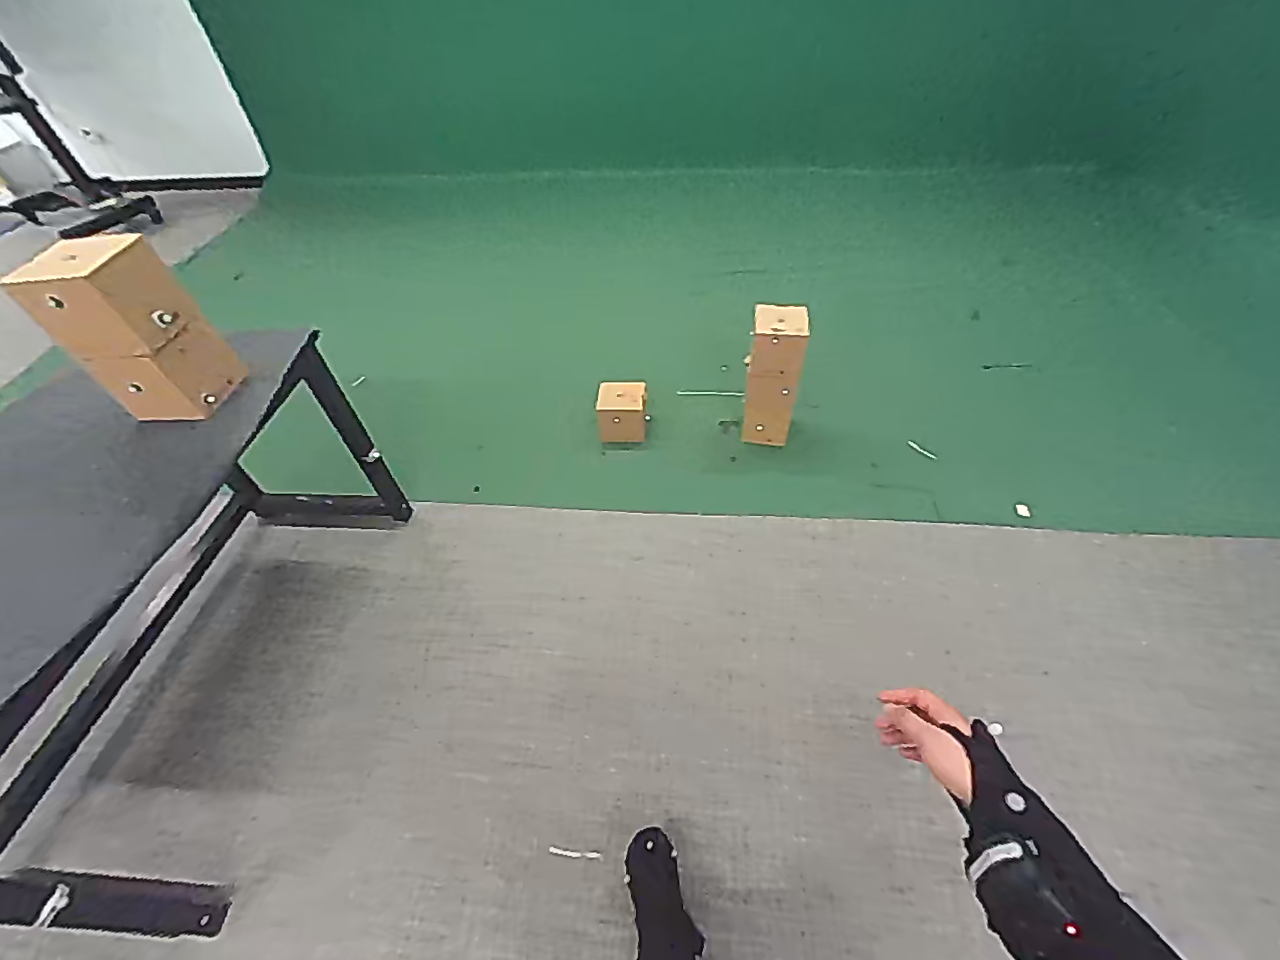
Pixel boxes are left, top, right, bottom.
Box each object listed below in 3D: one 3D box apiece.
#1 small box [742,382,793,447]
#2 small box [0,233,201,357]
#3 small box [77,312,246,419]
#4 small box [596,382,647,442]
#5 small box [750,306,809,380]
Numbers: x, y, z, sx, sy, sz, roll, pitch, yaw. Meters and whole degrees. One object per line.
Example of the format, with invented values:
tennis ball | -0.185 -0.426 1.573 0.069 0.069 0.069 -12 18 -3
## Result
small box | 0.484 -0.248 2.062 0.168 0.176 0.179 8 49 10
small box | -1.021 -0.352 1.043 0.179 0.176 0.168 -2 50 4
small box | -1.011 -0.245 1.165 0.179 0.176 0.168 0 49 8
small box | -0.067 -0.263 2.104 0.179 0.176 0.168 2 49 5
small box | 0.463 -0.460 1.811 0.168 0.176 0.179 6 48 7
